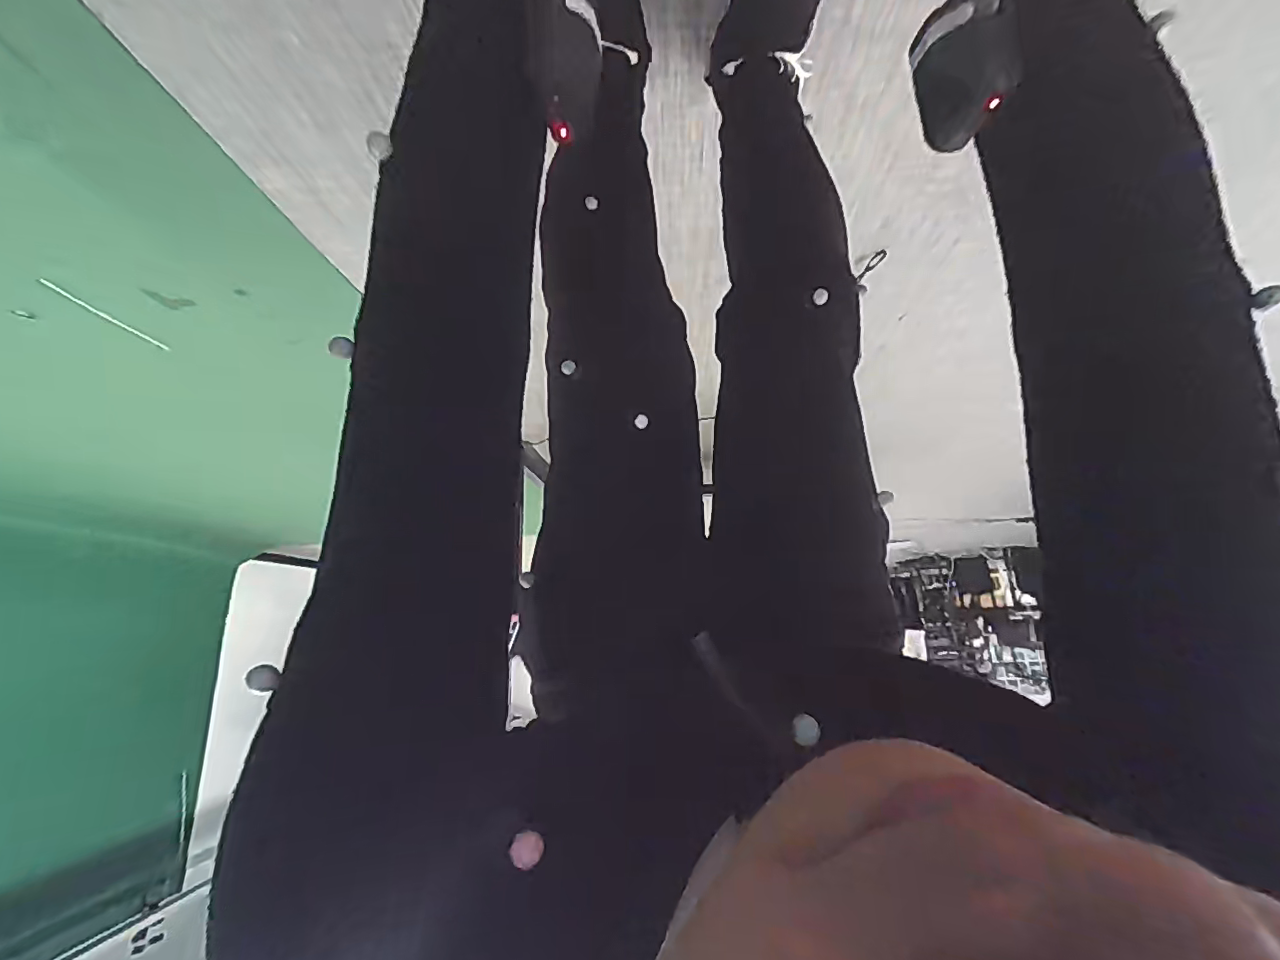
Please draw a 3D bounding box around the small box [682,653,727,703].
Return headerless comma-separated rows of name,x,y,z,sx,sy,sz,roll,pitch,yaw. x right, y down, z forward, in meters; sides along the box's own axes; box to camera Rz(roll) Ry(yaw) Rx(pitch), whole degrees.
small box,0.253,0.784,2.147,0.168,0.176,0.179,-3,165,7
